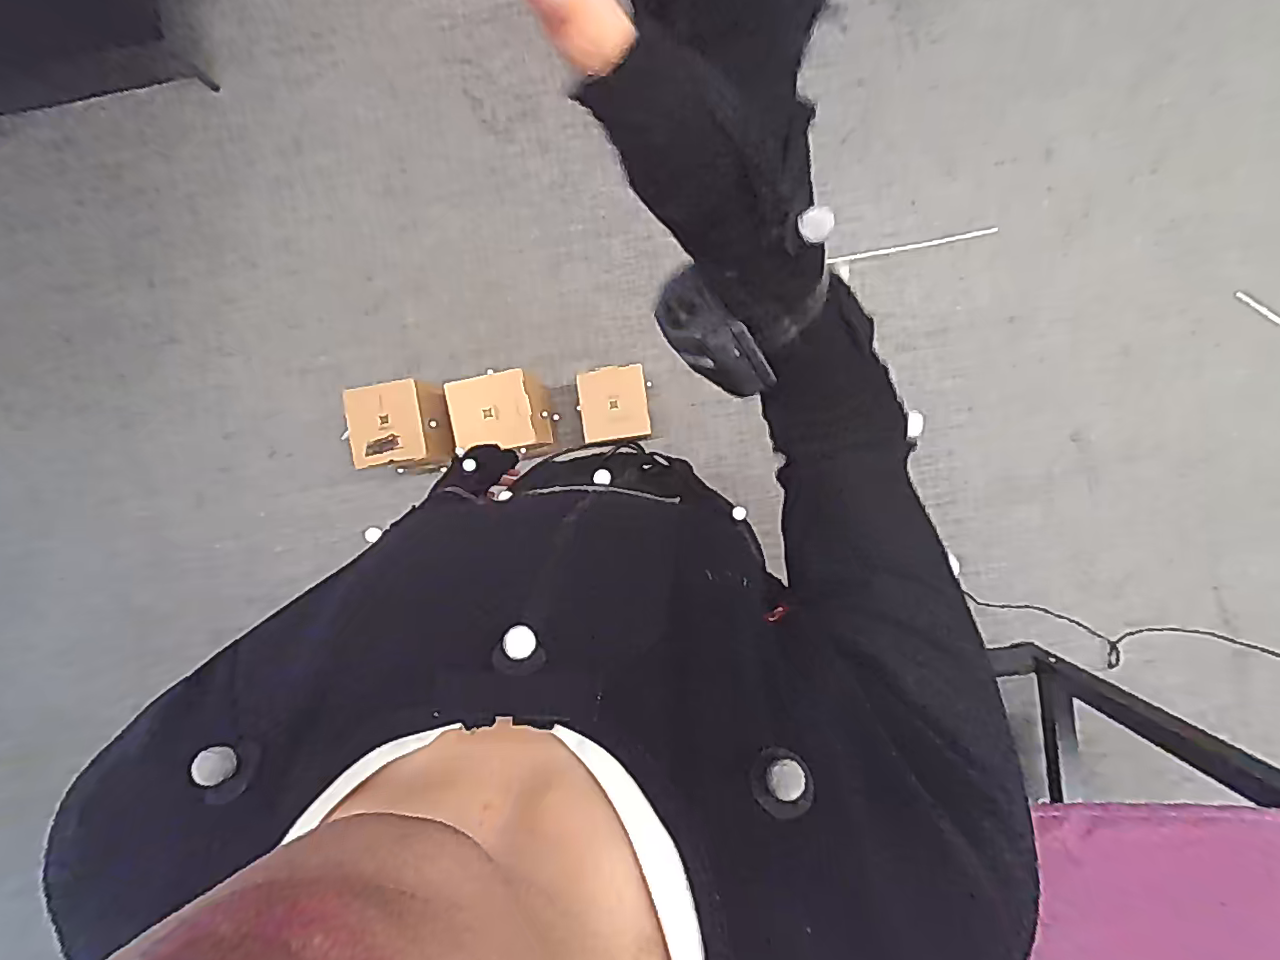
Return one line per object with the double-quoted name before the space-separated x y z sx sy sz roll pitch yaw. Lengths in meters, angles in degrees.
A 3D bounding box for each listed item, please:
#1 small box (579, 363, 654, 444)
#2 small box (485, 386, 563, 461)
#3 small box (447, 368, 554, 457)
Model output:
"small box" -0.055 -0.190 1.387 0.168 0.176 0.179 -8 92 3
"small box" -0.308 -0.147 1.399 0.168 0.176 0.179 -10 91 4
"small box" -0.312 -0.146 1.236 0.179 0.176 0.168 -12 92 3
